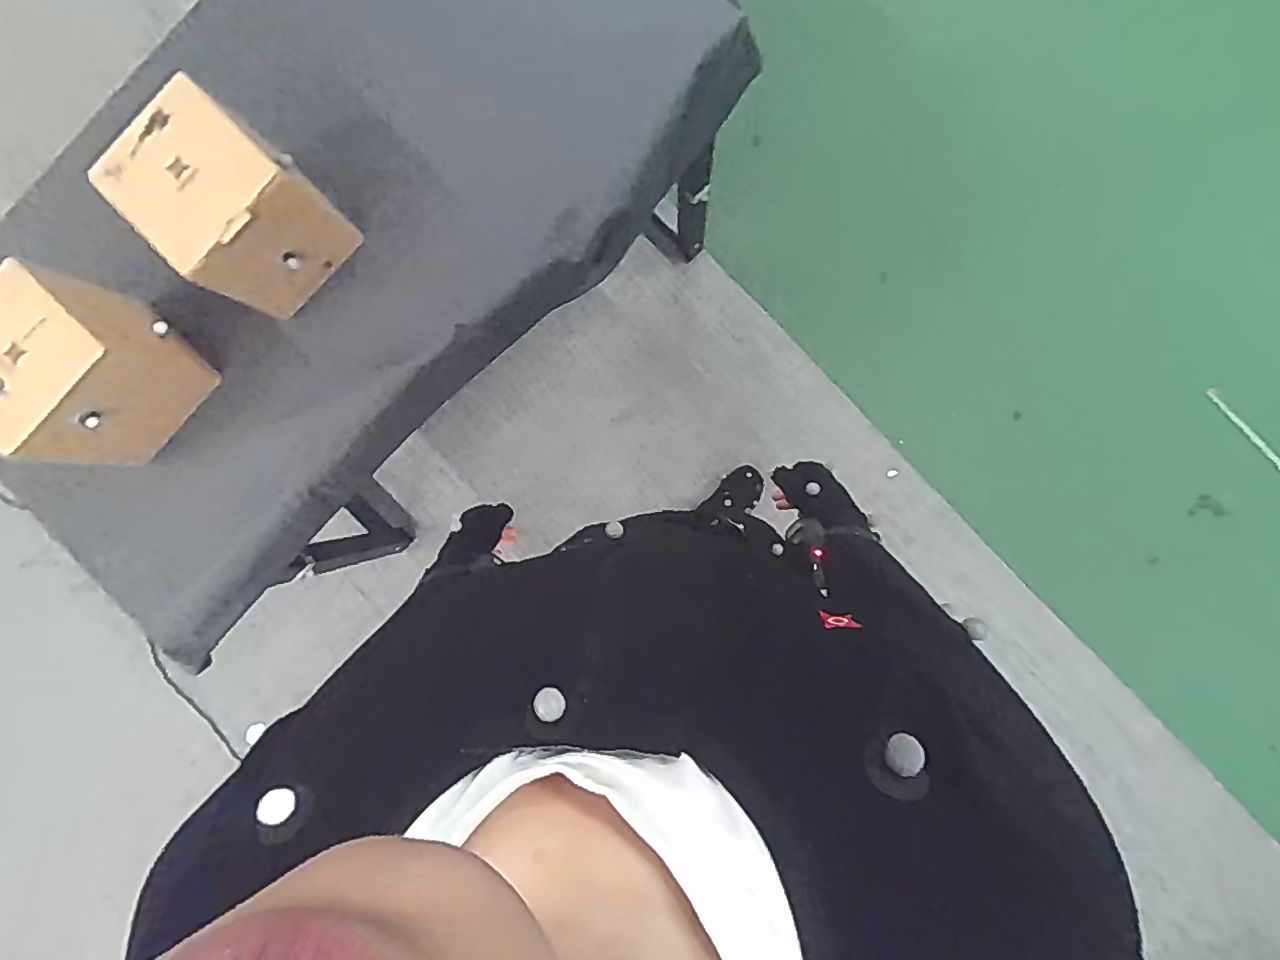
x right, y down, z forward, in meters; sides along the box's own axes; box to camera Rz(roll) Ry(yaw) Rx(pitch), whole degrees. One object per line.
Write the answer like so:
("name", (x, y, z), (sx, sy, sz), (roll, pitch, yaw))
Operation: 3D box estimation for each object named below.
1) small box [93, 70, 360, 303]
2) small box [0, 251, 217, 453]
("small box", (-0.510, -0.353, 0.697), (0.168, 0.176, 0.179), (-44, 88, 2))
("small box", (-0.722, -0.150, 0.708), (0.168, 0.176, 0.179), (44, 91, 2))
